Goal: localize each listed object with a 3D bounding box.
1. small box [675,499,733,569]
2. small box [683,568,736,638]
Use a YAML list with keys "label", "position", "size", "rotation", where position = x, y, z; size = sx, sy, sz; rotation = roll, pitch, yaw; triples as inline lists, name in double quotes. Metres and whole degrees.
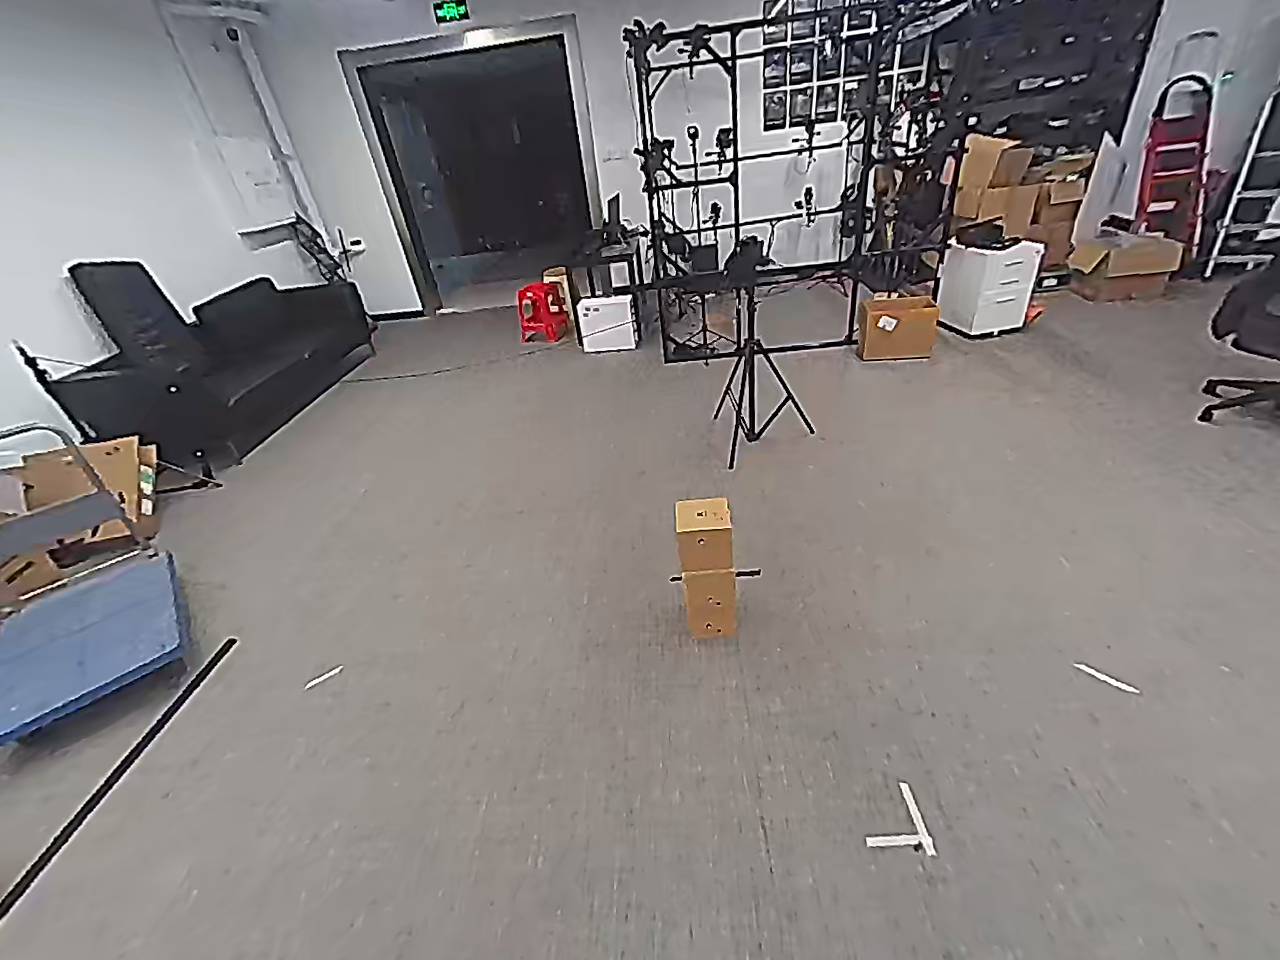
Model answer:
- label: "small box"
  position: [0.211, 0.181, 1.785]
  size: [0.179, 0.176, 0.168]
  rotation: [-5, 34, 5]
- label: "small box"
  position: [0.251, 0.449, 1.971]
  size: [0.168, 0.176, 0.179]
  rotation: [-8, 32, 1]
